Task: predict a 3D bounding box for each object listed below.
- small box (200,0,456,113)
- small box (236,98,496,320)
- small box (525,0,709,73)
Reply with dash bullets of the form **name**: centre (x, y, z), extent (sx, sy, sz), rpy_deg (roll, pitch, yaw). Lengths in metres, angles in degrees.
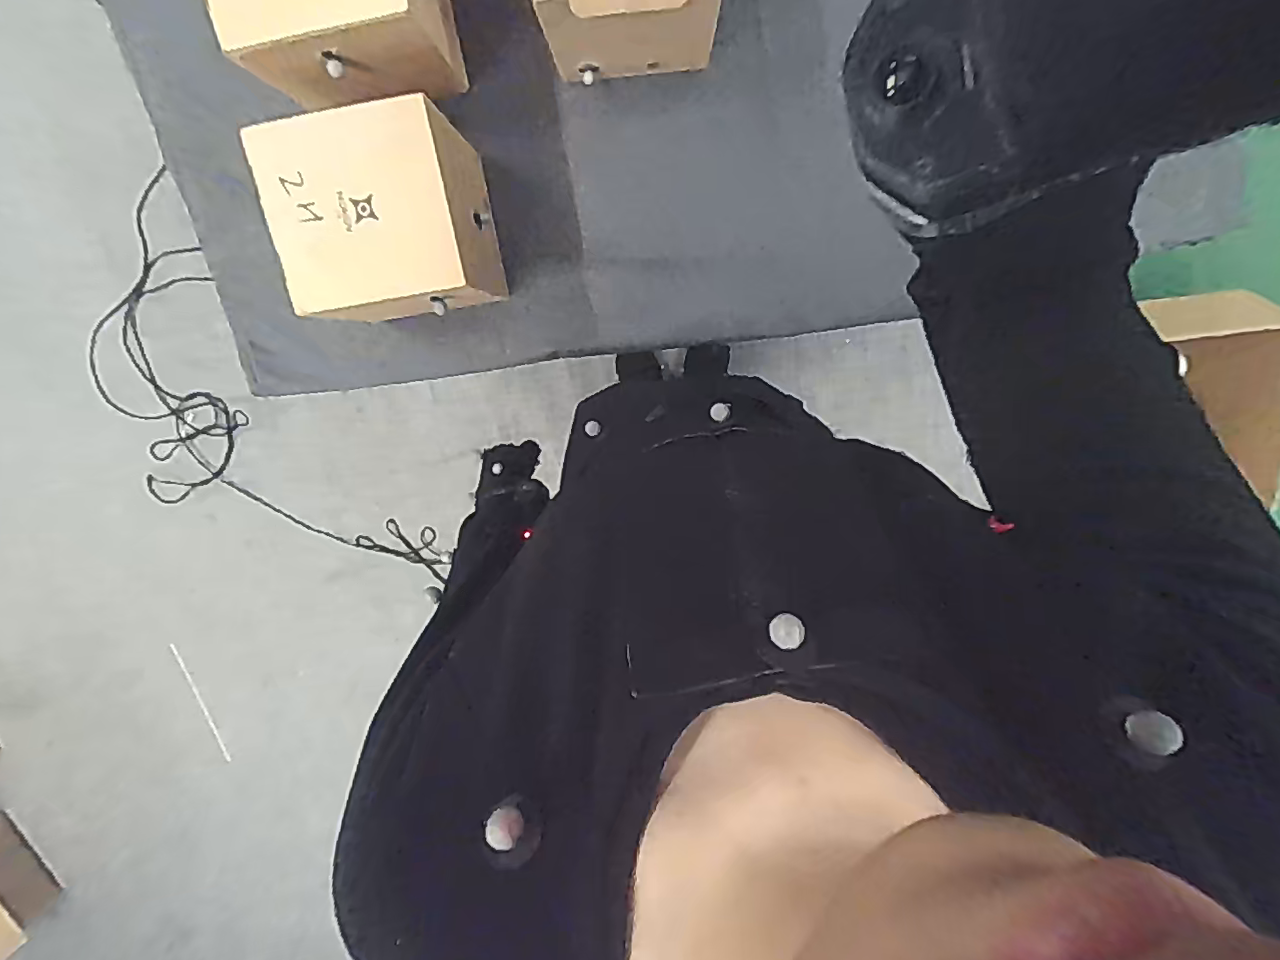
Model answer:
- **small box**: centre (-0.296, -0.483, 0.522), extent (0.179, 0.176, 0.168), rpy_deg (-9, 106, 5)
- **small box**: centre (-0.265, -0.268, 0.577), extent (0.179, 0.176, 0.168), rpy_deg (-9, 104, 3)
- **small box**: centre (-0.020, -0.512, 0.503), extent (0.168, 0.176, 0.179), rpy_deg (-4, 105, 3)
